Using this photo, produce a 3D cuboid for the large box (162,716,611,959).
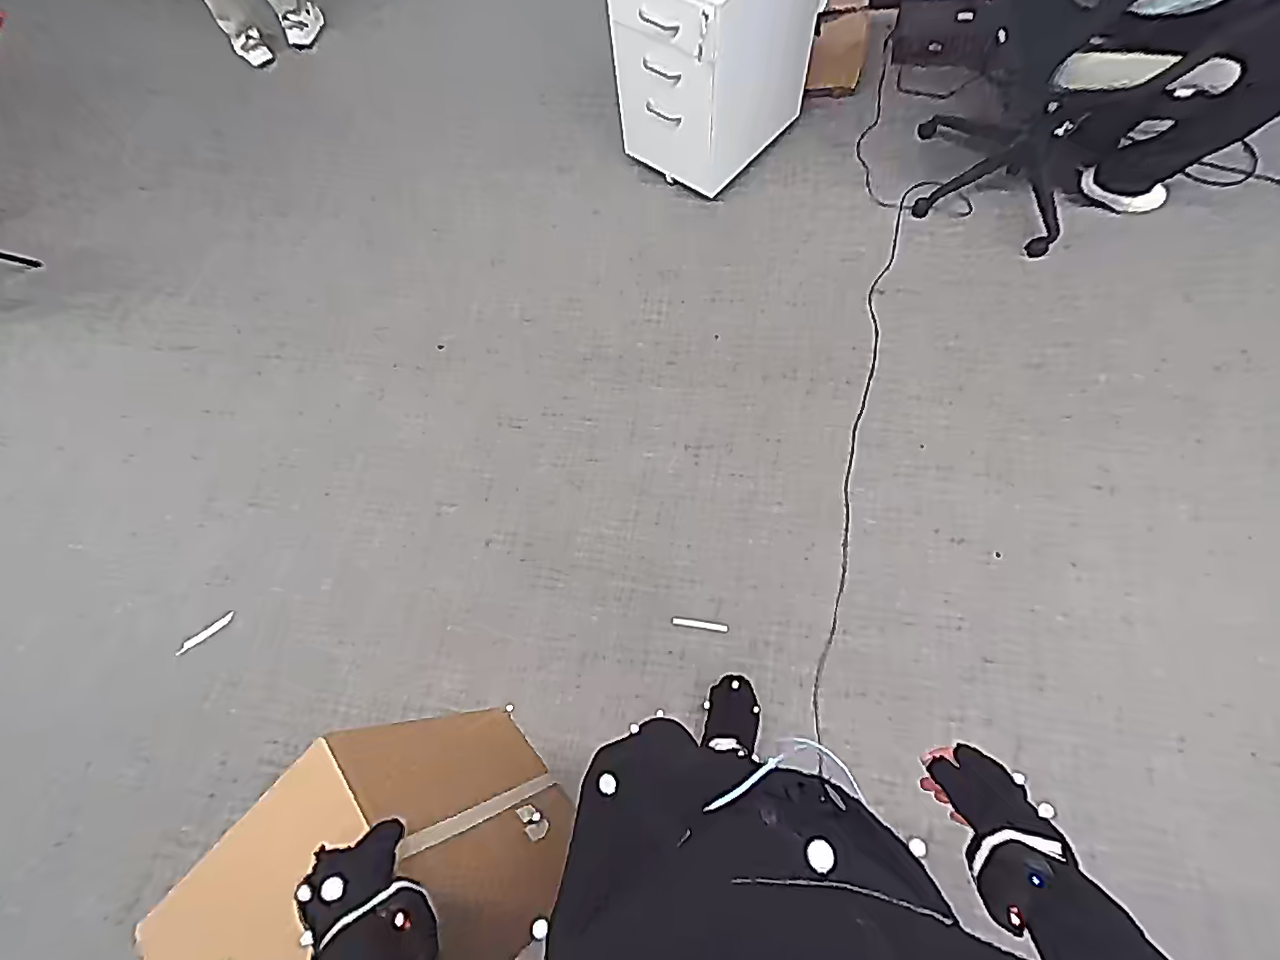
[{"bbox_3d":[-0.302,0.580,0.746,0.320,0.408,0.320,-45,66,-1],"label":"large box"}]
